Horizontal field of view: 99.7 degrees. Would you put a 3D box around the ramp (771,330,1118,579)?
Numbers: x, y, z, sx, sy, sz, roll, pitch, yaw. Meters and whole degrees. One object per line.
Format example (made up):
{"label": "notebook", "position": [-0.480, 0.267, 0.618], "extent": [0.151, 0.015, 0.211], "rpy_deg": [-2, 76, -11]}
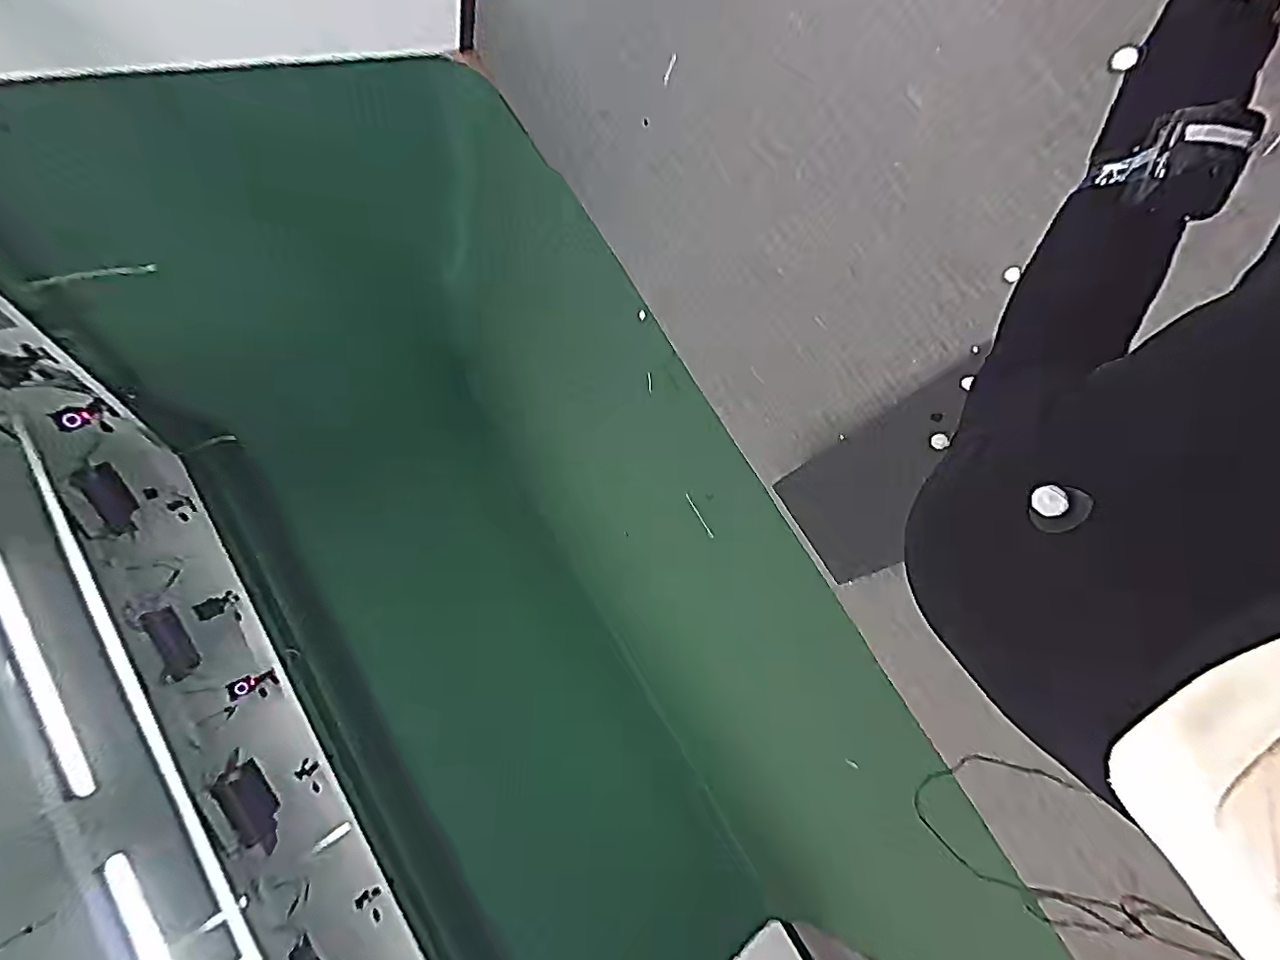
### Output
{"label": "ramp", "position": [0.903, -0.013, 1.835], "extent": [0.509, 0.206, 0.991], "rpy_deg": [58, 152, 10]}
